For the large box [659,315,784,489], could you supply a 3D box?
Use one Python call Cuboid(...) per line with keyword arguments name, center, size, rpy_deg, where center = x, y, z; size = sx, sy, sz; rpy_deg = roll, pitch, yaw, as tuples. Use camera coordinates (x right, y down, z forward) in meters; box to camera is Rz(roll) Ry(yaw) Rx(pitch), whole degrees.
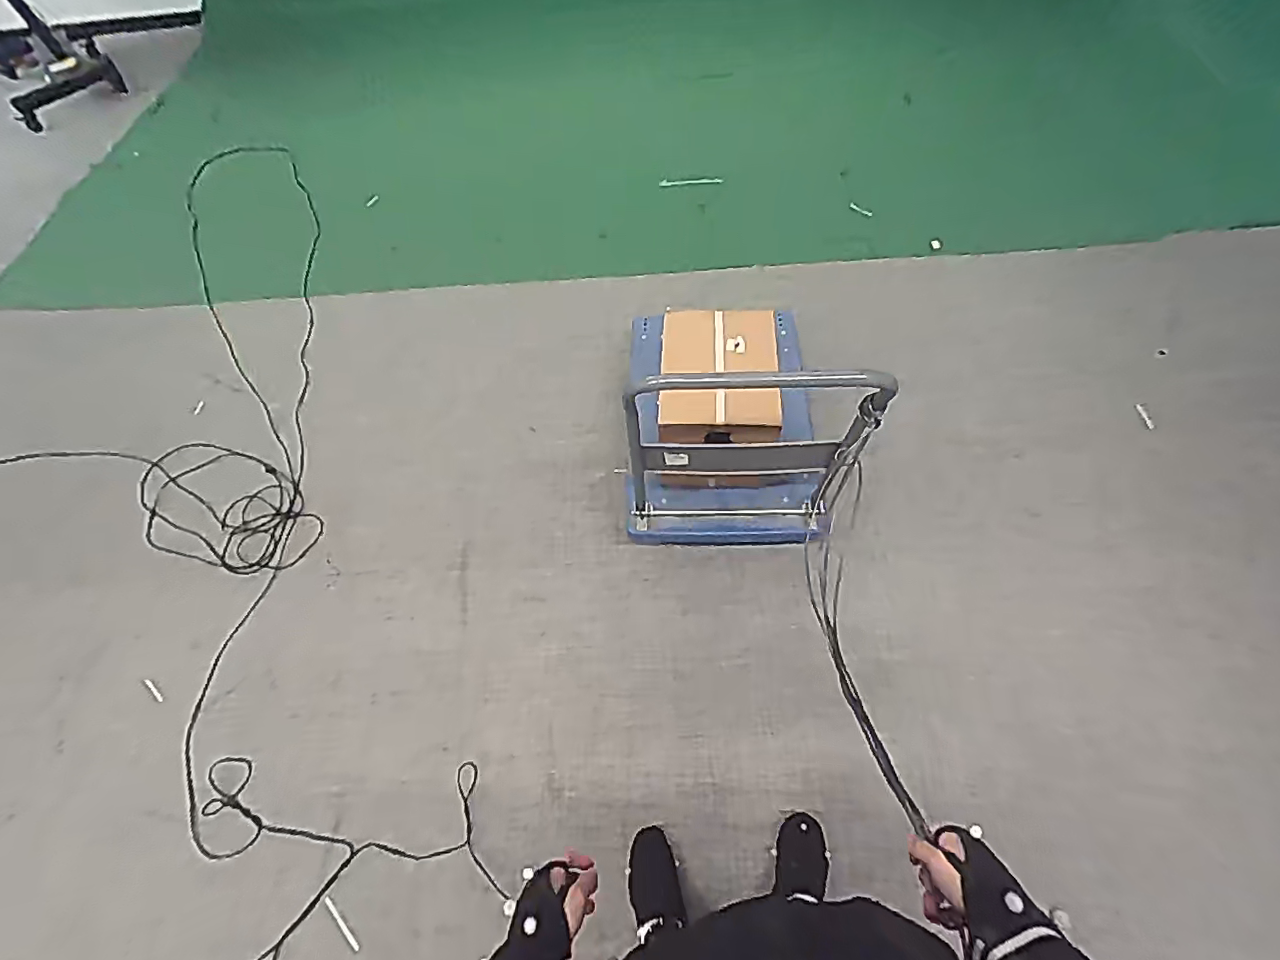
Cuboid(name="large box", center=(0.221, -0.217, 1.563), size=(0.320, 0.320, 0.408), rpy_deg=(2, 59, 5))
